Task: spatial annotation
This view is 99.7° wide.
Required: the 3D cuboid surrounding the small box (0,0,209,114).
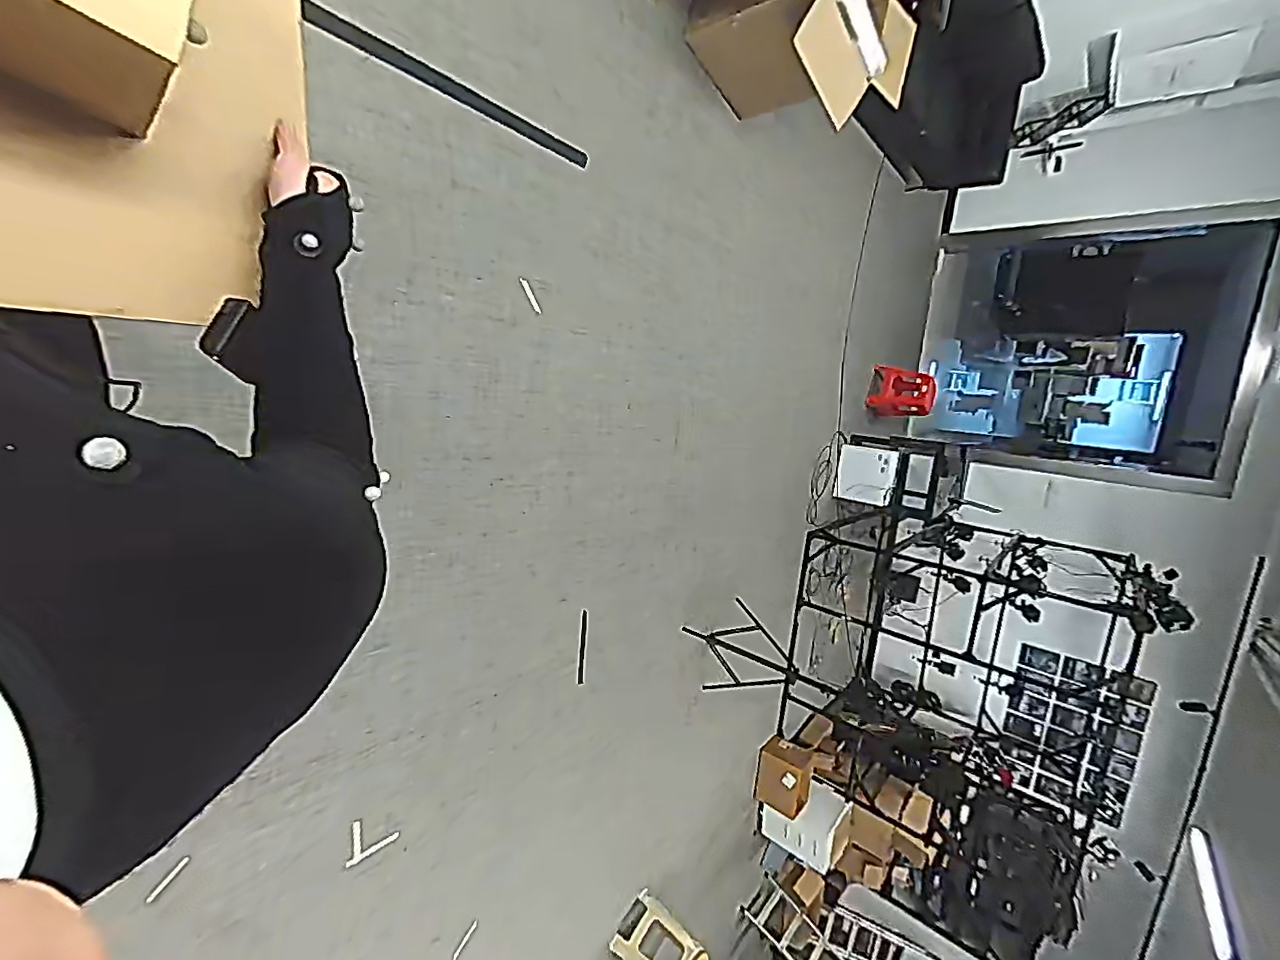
[{"bbox_3d":[-0.394,-0.372,0.343,0.179,0.176,0.168,11,91,-48],"label":"small box"}]
